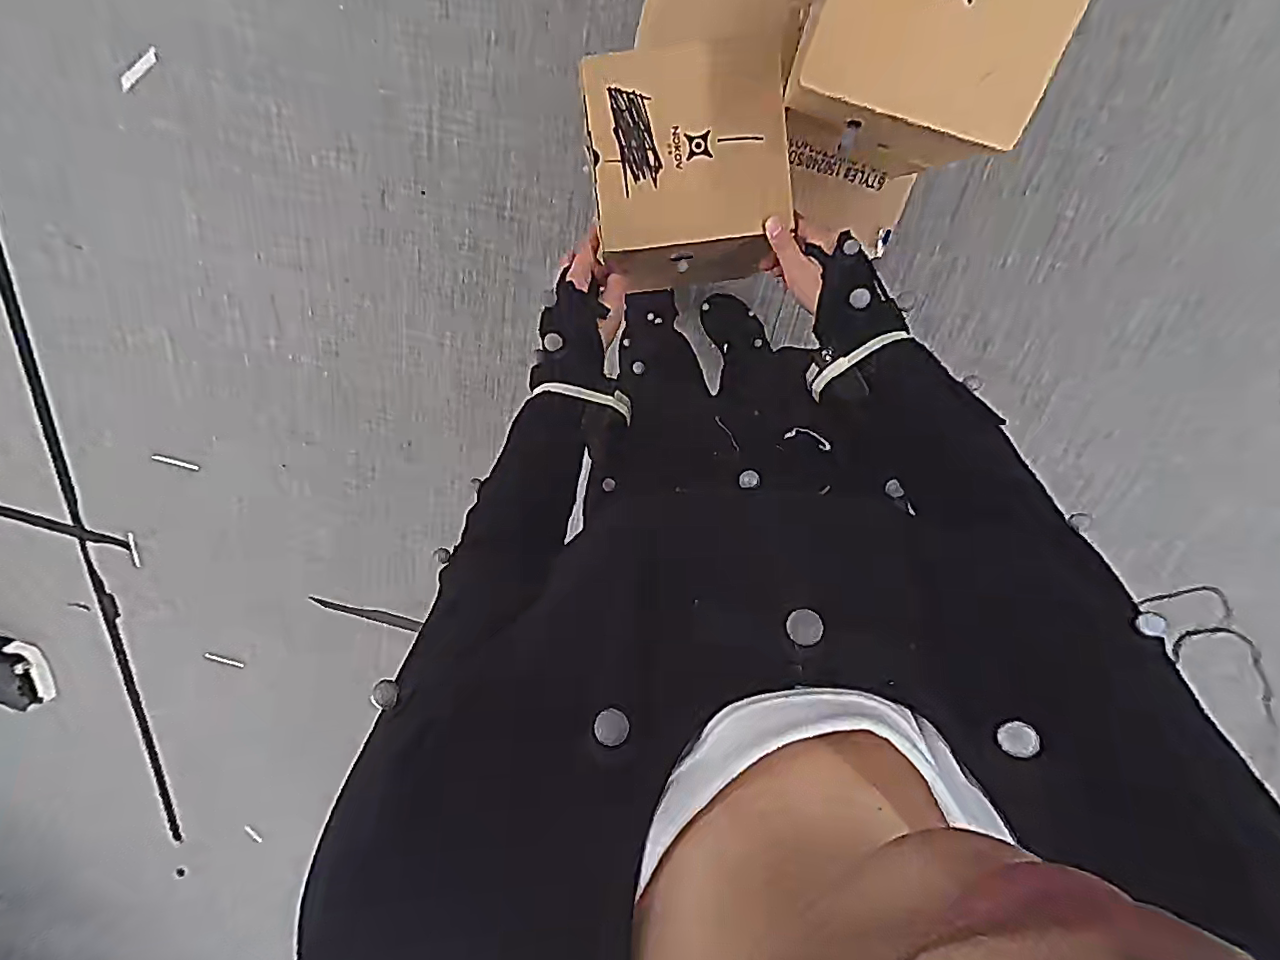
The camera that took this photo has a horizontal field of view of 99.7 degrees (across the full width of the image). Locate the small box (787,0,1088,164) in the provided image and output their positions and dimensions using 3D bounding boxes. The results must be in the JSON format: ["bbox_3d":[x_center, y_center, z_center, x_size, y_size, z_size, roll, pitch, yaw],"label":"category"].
[{"bbox_3d":[0.226,-0.370,0.426,0.168,0.176,0.179,17,116,0],"label":"small box"}]

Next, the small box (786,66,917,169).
[{"bbox_3d":[0.259,-0.443,0.567,0.179,0.176,0.168,19,118,-2],"label":"small box"}]

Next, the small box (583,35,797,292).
[{"bbox_3d":[0.047,-0.300,0.553,0.179,0.176,0.168,-7,98,1],"label":"small box"}]
